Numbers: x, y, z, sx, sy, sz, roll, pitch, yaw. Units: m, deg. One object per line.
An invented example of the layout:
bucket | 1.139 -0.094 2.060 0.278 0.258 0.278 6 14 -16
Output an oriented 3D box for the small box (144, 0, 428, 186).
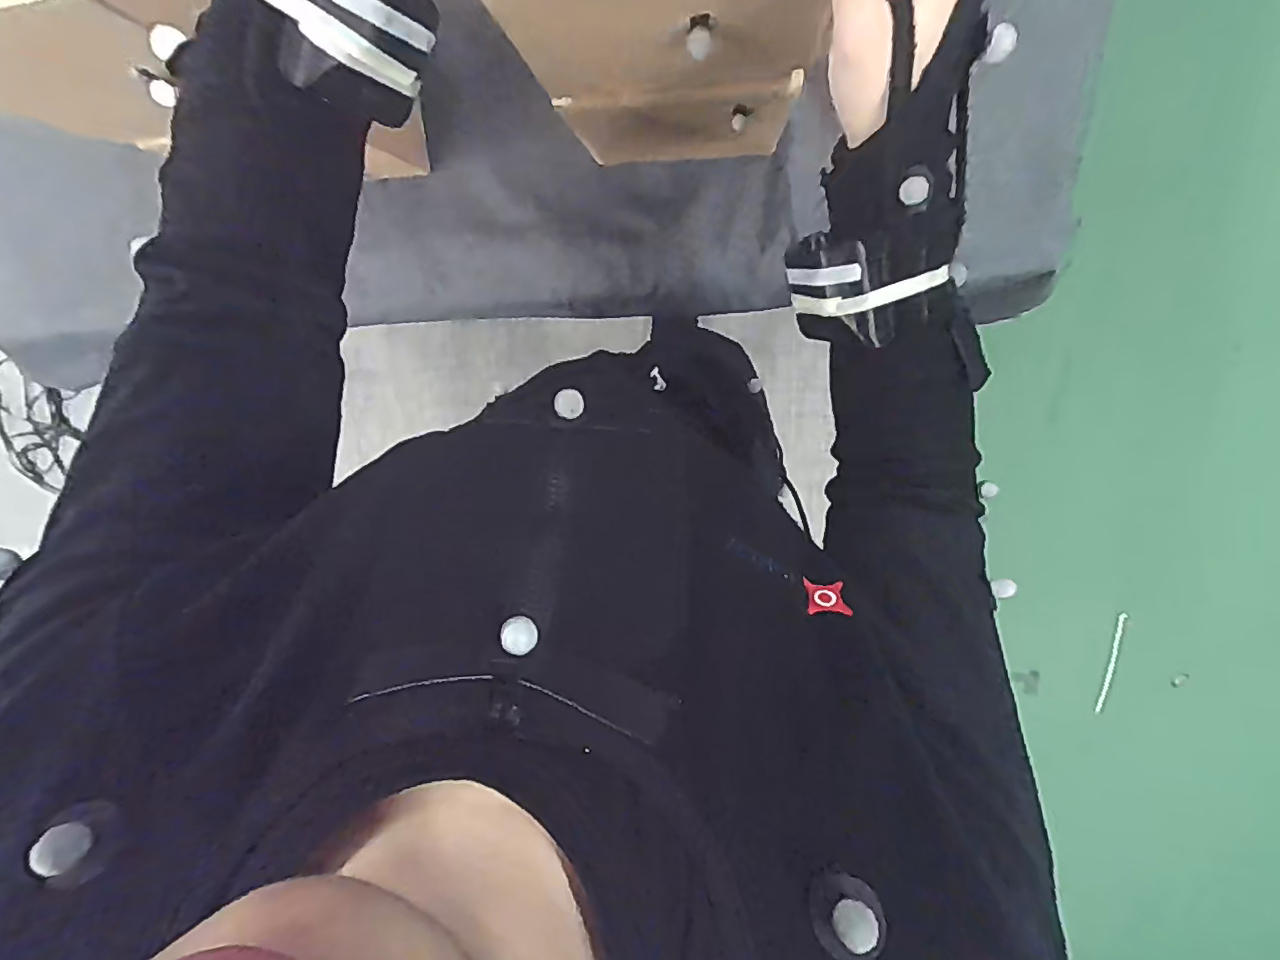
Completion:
small box | -0.308 -0.372 0.465 0.168 0.176 0.179 -1 108 7

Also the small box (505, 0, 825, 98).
small box | 0.011 -0.319 0.260 0.179 0.176 0.168 -3 107 7

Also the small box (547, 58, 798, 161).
small box | 0.028 -0.370 0.432 0.179 0.176 0.168 0 108 6

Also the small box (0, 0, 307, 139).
small box | -0.330 -0.321 0.313 0.179 0.176 0.168 -3 107 8
